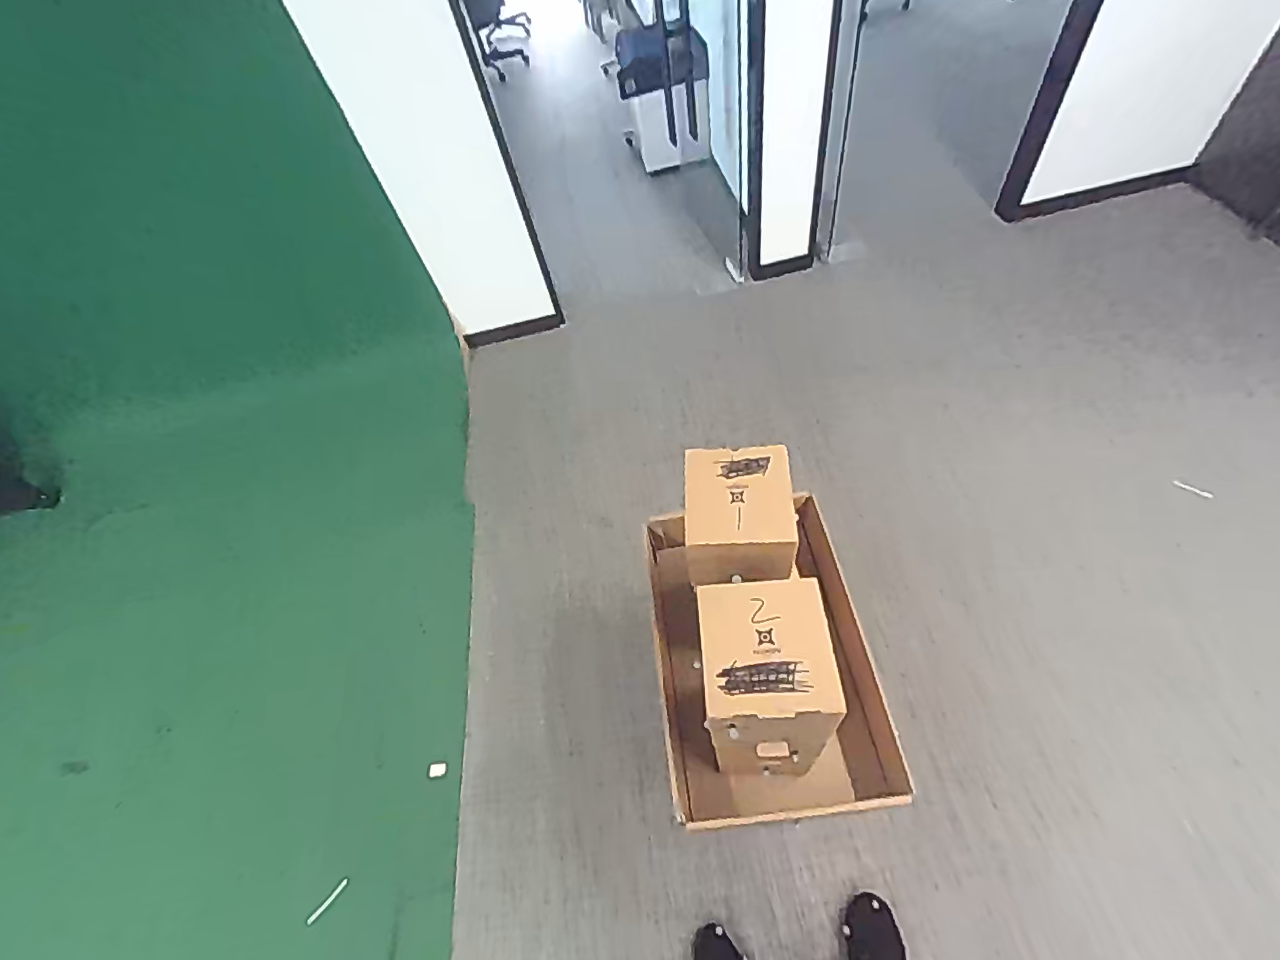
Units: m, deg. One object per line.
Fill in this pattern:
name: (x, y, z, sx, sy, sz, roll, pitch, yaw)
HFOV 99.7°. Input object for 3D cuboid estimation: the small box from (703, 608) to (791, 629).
small box: (0.216, 0.248, 1.163, 0.168, 0.176, 0.179, -10, 55, 4)

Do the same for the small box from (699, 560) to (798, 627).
small box: (0.190, 0.159, 1.031, 0.168, 0.176, 0.179, -10, 55, 3)

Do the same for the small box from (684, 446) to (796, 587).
small box: (0.161, 0.065, 0.900, 0.168, 0.176, 0.179, -3, 56, 9)

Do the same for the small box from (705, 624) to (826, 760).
small box: (0.198, 0.353, 0.884, 0.168, 0.176, 0.179, -5, 53, 7)
